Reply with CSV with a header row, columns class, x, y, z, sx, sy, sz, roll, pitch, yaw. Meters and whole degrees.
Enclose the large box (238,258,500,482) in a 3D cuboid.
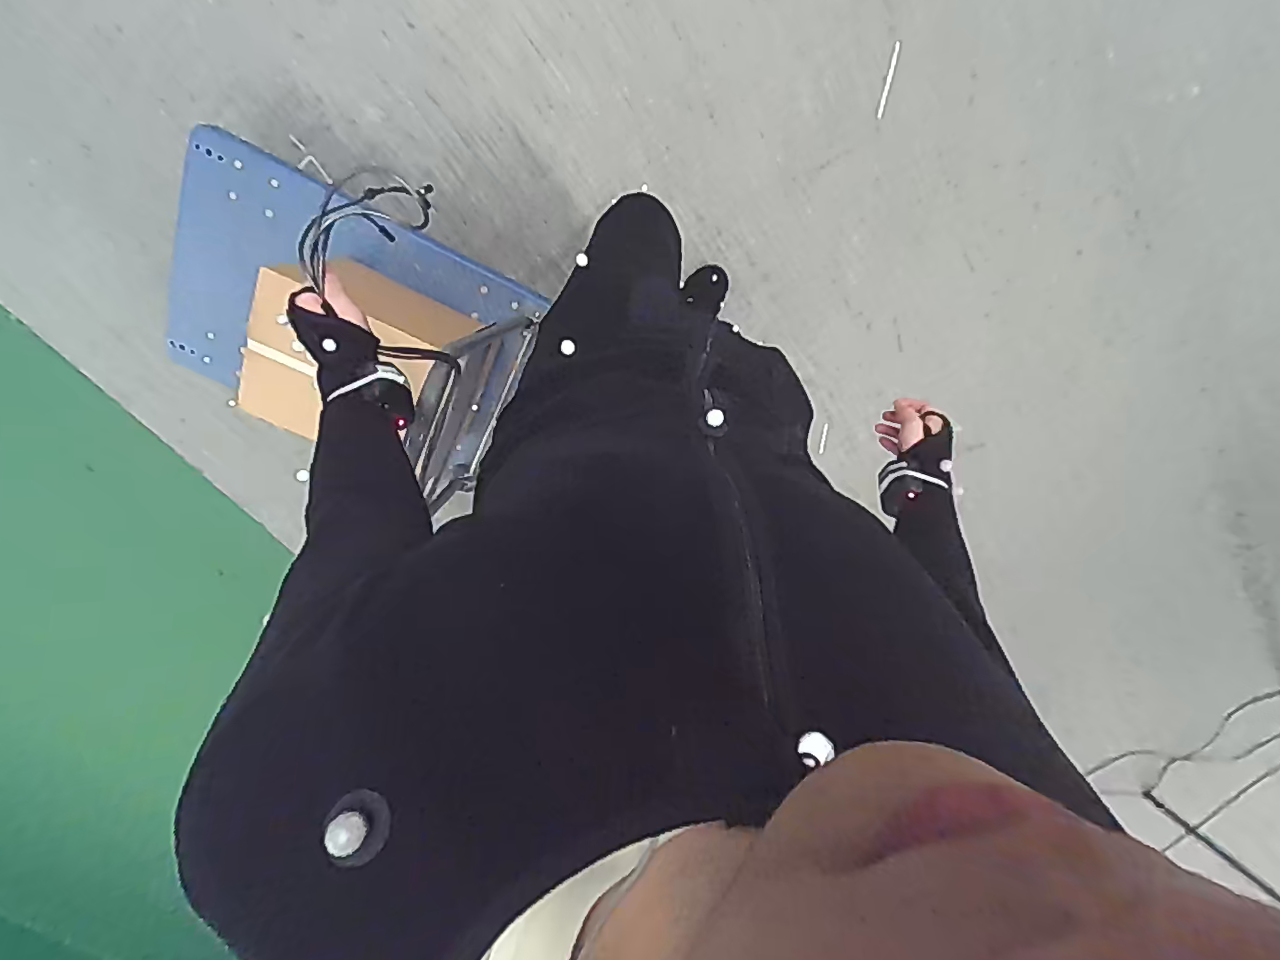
class,x,y,z,sx,sy,sz,roll,pitch,yaw
large box,-0.588,-0.259,1.229,0.408,0.320,0.320,25,113,-9
